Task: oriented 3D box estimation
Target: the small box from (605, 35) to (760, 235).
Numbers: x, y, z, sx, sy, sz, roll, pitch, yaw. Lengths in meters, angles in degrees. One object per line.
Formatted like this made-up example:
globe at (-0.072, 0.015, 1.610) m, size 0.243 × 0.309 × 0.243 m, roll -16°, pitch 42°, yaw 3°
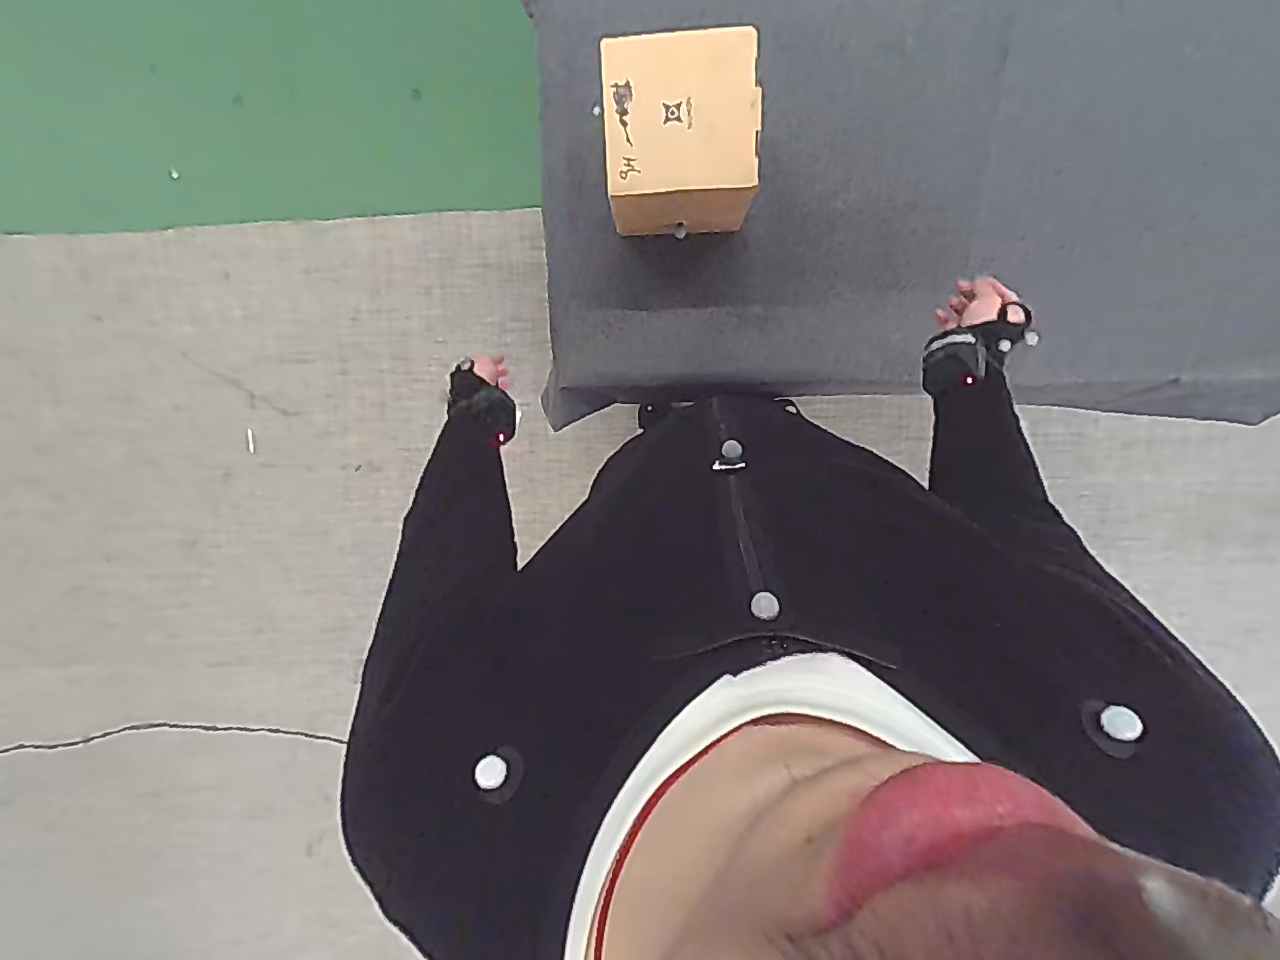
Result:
small box at (0.050, -0.425, 0.693) m, size 0.179 × 0.176 × 0.168 m, roll -2°, pitch 99°, yaw 2°
